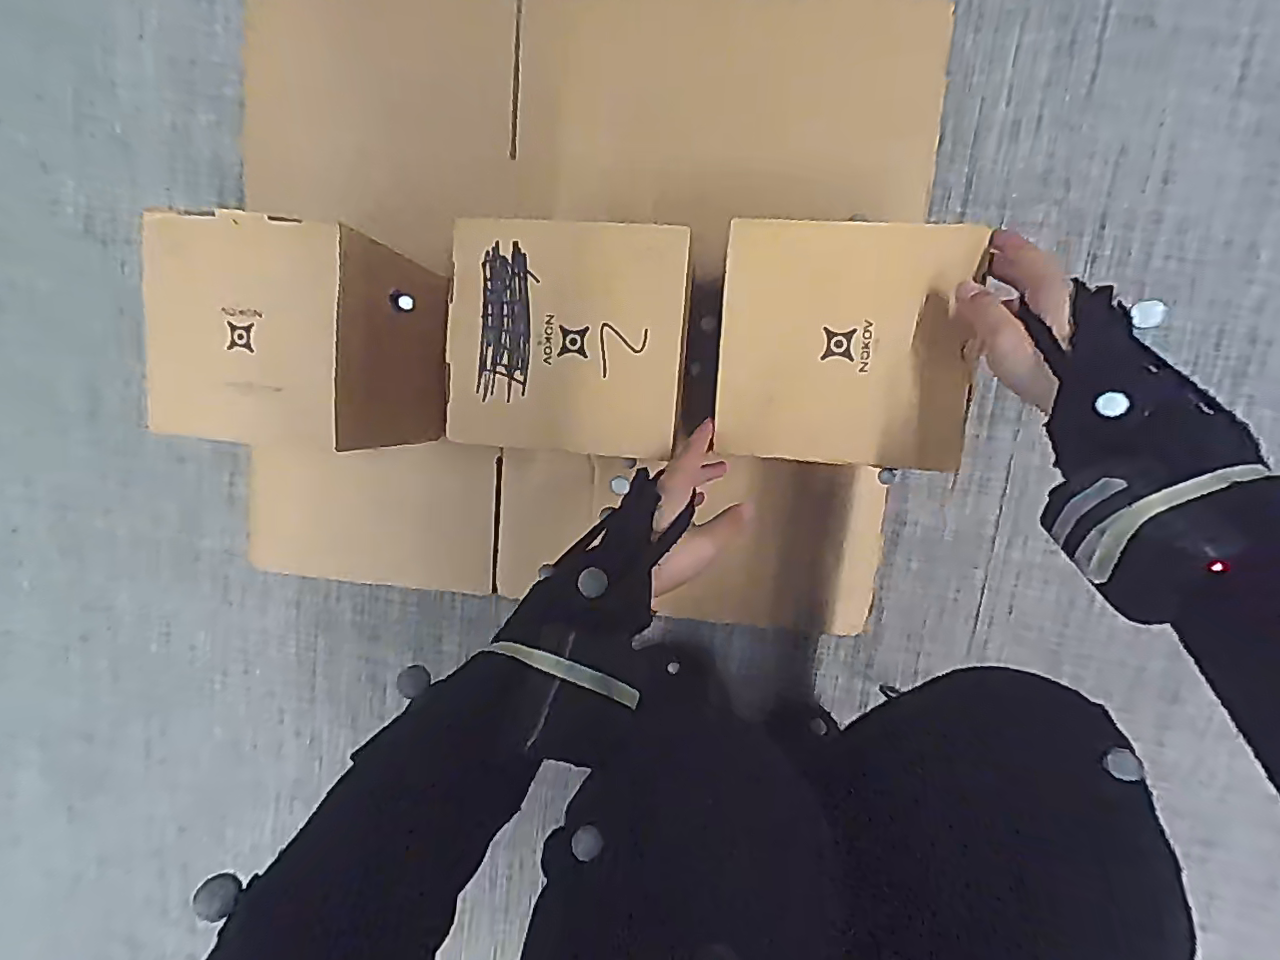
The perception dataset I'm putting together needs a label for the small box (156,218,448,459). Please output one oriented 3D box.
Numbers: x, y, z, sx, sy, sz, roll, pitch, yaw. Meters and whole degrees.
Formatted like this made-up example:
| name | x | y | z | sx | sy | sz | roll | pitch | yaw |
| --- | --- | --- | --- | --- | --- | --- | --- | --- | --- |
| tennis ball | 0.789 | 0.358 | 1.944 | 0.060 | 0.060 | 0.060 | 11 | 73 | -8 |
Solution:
| name | x | y | z | sx | sy | sz | roll | pitch | yaw |
| --- | --- | --- | --- | --- | --- | --- | --- | --- | --- |
| small box | -0.294 | -0.119 | 0.503 | 0.168 | 0.176 | 0.179 | 6 | 98 | 6 |
